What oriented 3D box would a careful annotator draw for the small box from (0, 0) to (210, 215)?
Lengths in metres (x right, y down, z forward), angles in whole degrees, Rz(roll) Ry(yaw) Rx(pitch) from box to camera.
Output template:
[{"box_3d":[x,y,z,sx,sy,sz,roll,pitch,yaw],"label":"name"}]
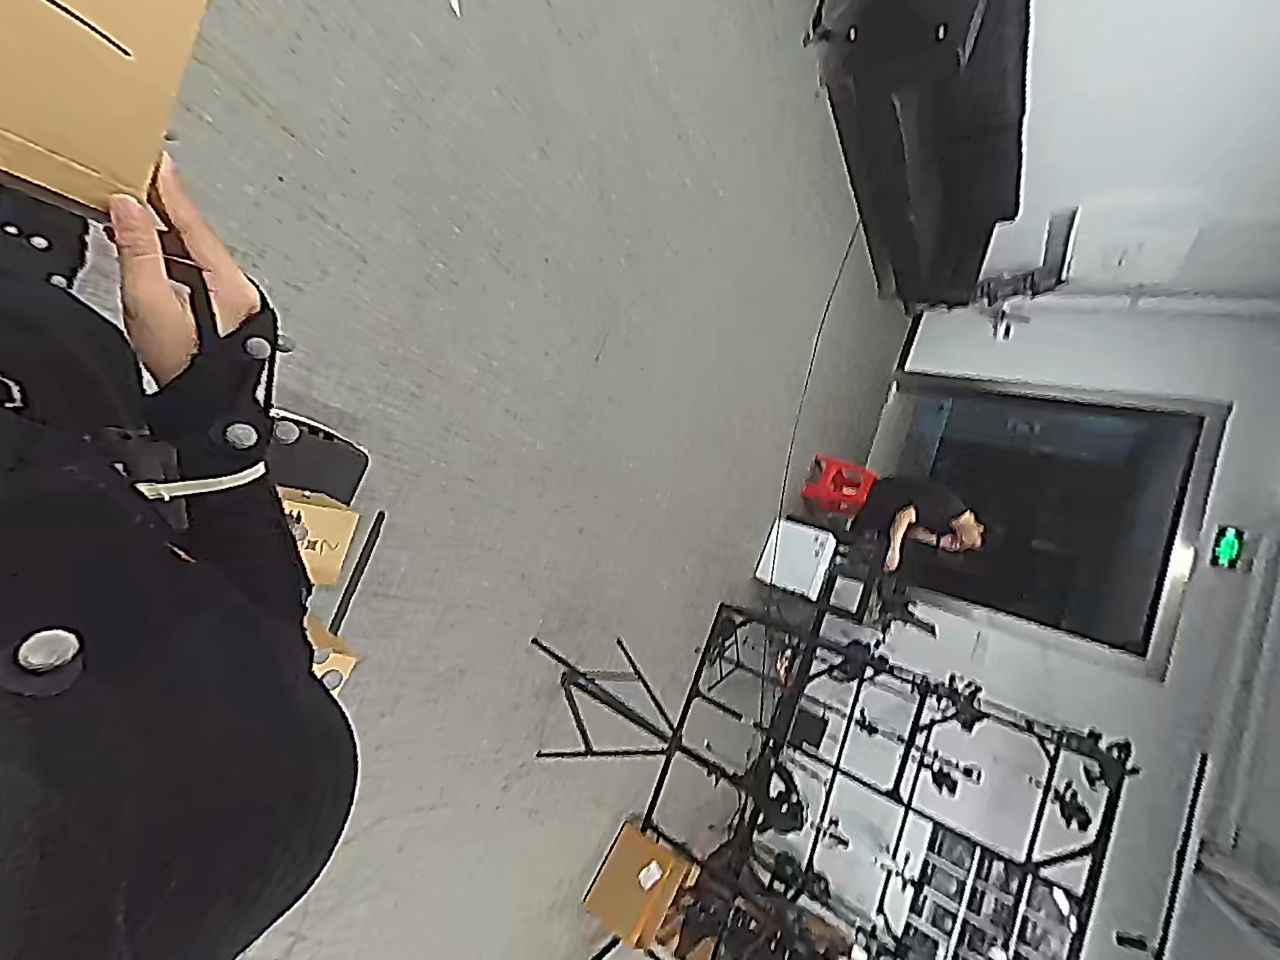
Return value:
[{"box_3d":[-0.355,-0.256,0.273,0.179,0.176,0.168,16,95,-53],"label":"small box"}]
